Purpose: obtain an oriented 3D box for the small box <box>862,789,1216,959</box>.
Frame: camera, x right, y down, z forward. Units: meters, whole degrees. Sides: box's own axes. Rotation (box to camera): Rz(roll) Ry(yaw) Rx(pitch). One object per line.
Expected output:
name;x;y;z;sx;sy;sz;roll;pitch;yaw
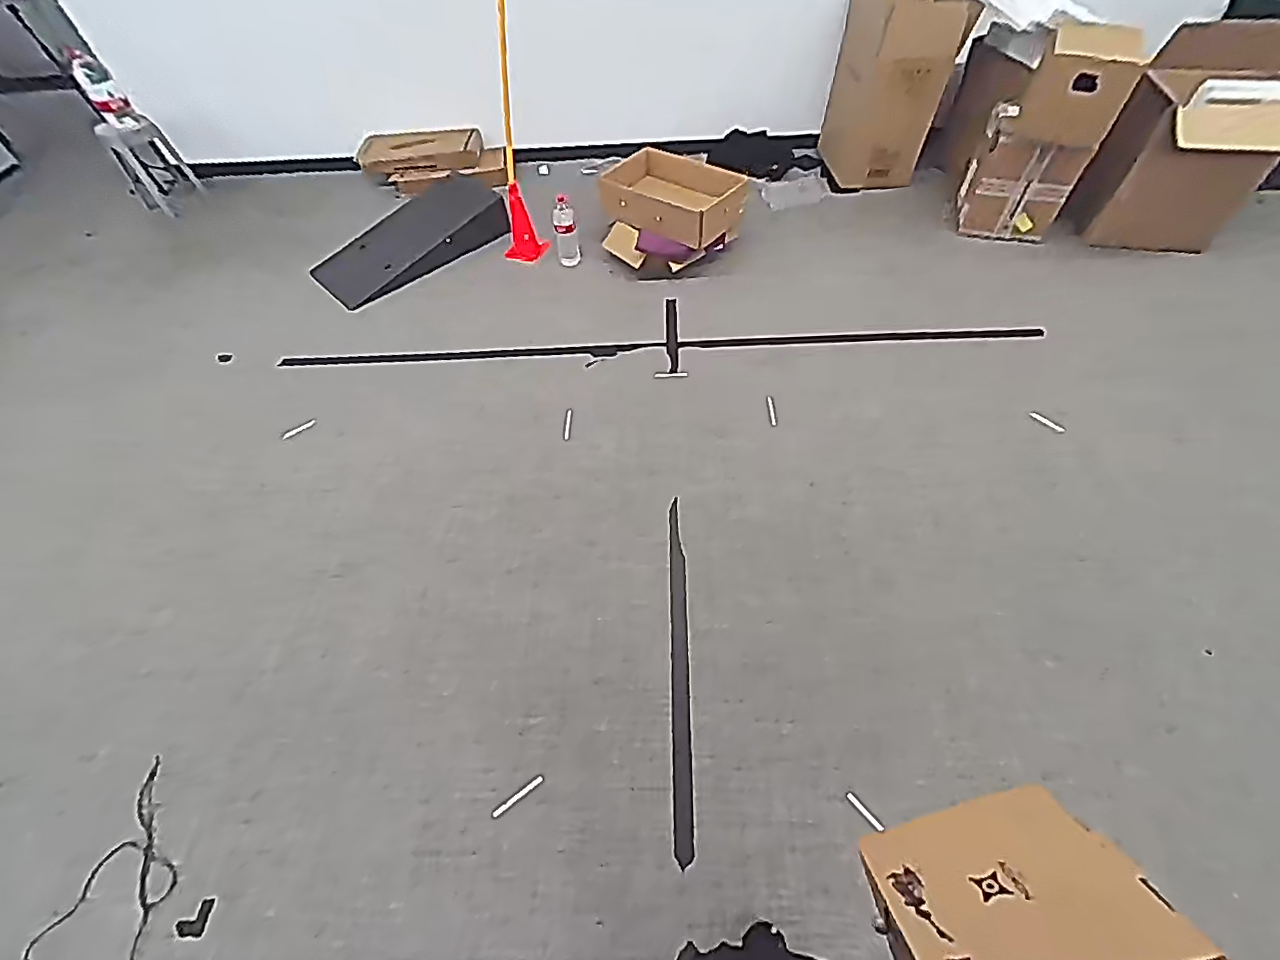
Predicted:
small box;0.312;0.397;0.434;0.179;0.168;0.176;-18;93;2
